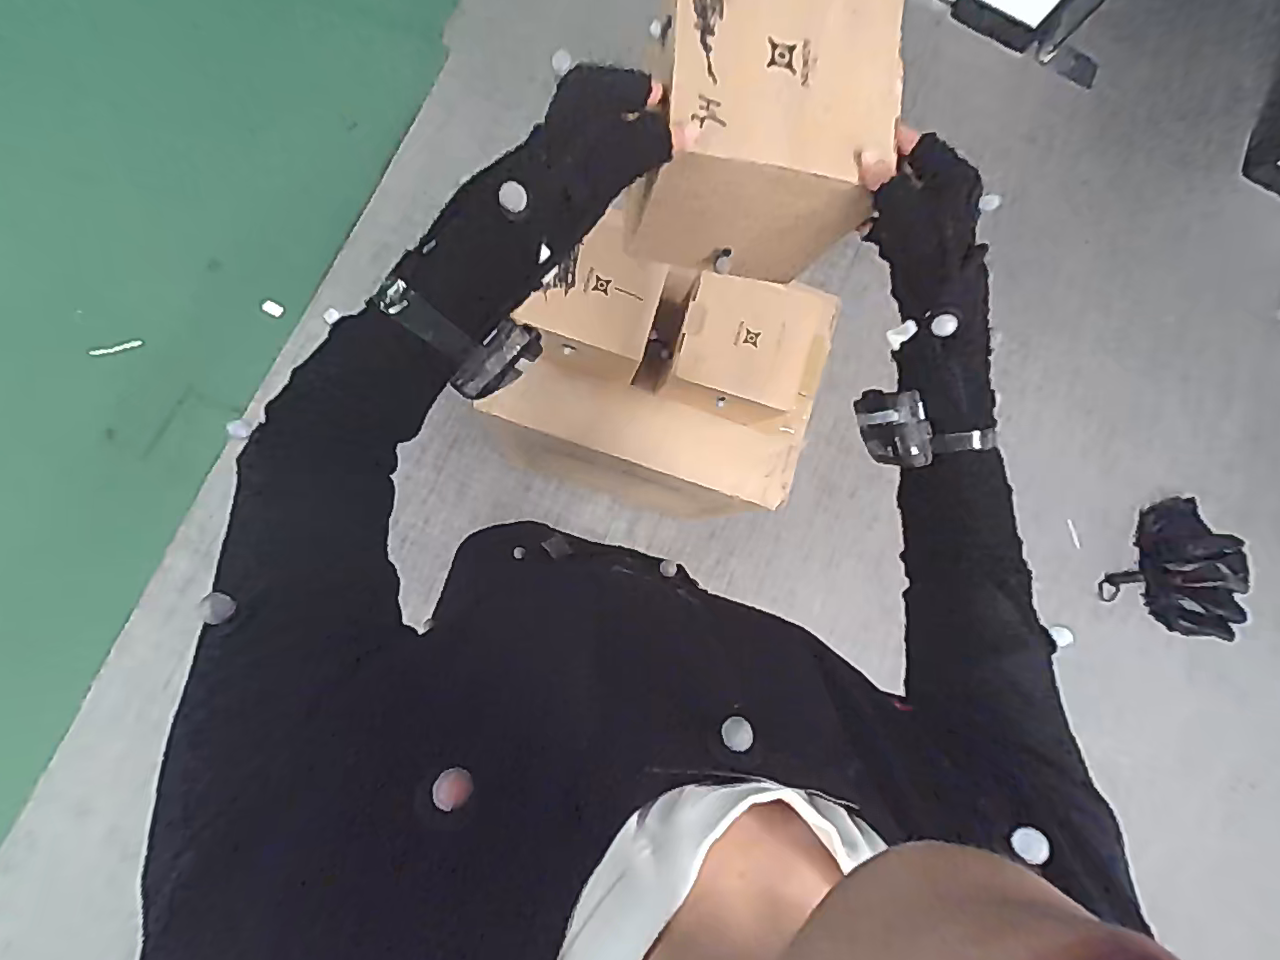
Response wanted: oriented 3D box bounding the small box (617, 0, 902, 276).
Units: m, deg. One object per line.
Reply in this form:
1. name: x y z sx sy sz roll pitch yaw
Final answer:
1. small box: 0.088 -0.293 0.459 0.179 0.176 0.168 5 85 -14

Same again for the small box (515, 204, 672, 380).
1. small box: -0.067 -0.260 0.793 0.179 0.176 0.168 17 87 -6
